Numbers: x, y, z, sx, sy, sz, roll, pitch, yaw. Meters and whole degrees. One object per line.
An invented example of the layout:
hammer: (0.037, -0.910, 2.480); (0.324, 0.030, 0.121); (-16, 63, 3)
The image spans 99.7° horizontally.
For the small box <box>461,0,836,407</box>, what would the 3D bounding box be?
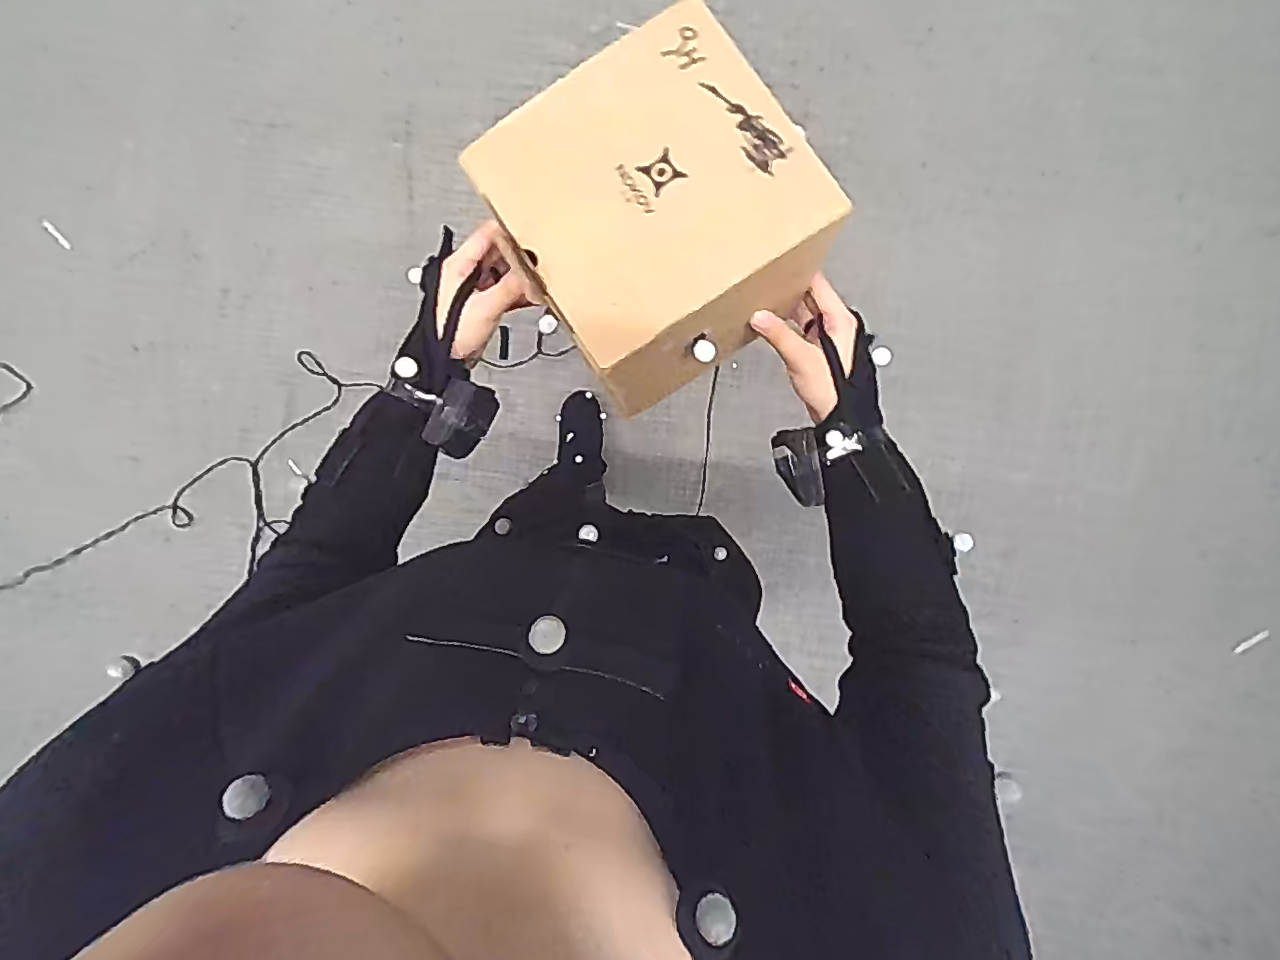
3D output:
small box: (0.009, -0.174, 0.403); (0.179, 0.176, 0.168); (-33, 85, 2)
